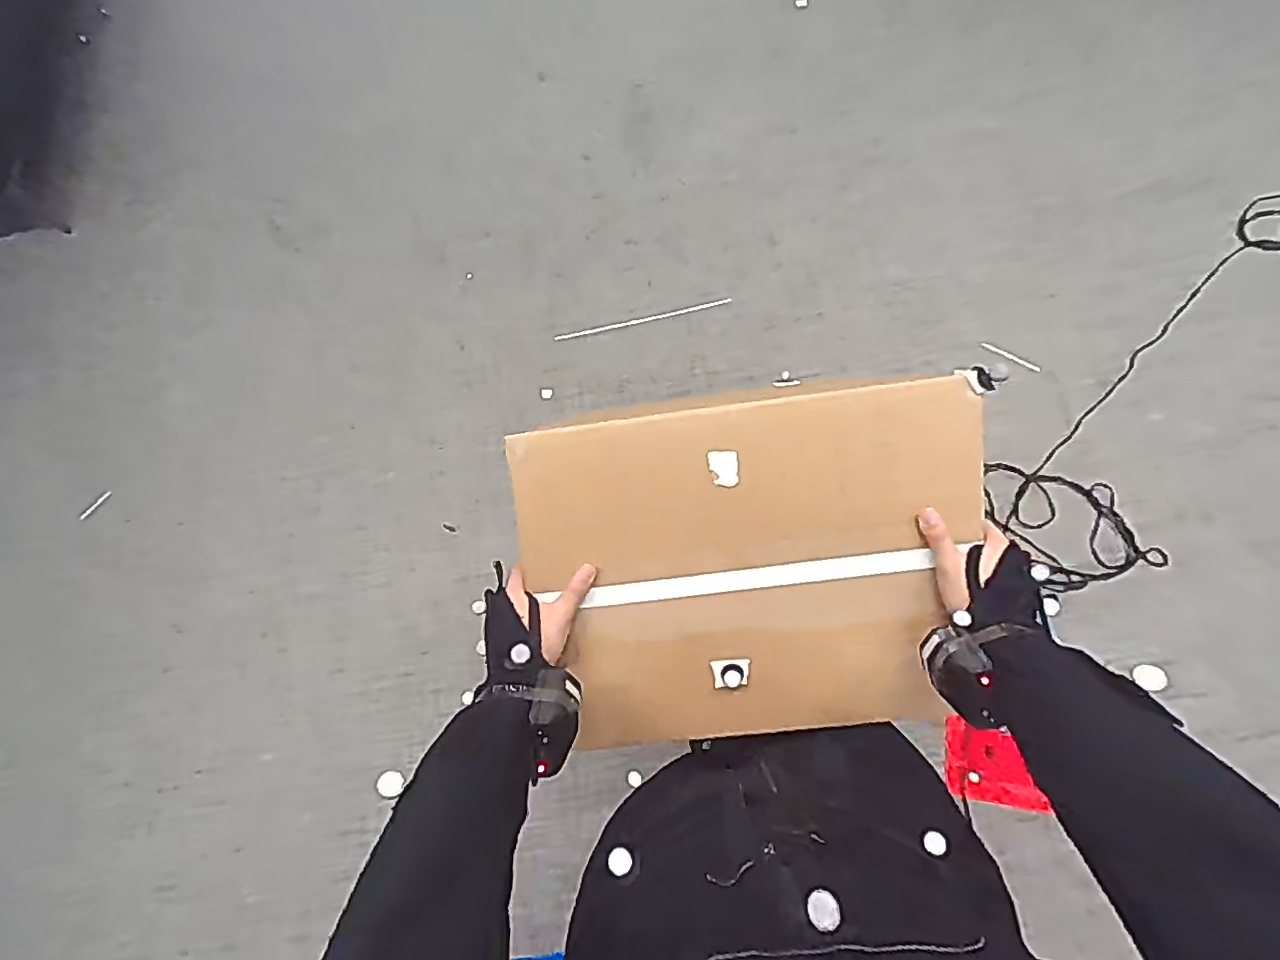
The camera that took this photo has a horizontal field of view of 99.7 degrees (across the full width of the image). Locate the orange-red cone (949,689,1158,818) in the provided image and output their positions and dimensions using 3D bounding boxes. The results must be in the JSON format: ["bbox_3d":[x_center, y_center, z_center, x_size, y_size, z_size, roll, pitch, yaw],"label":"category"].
[{"bbox_3d":[0.697,0.480,0.893,0.199,0.360,0.198,9,75,8],"label":"orange-red cone"}]
